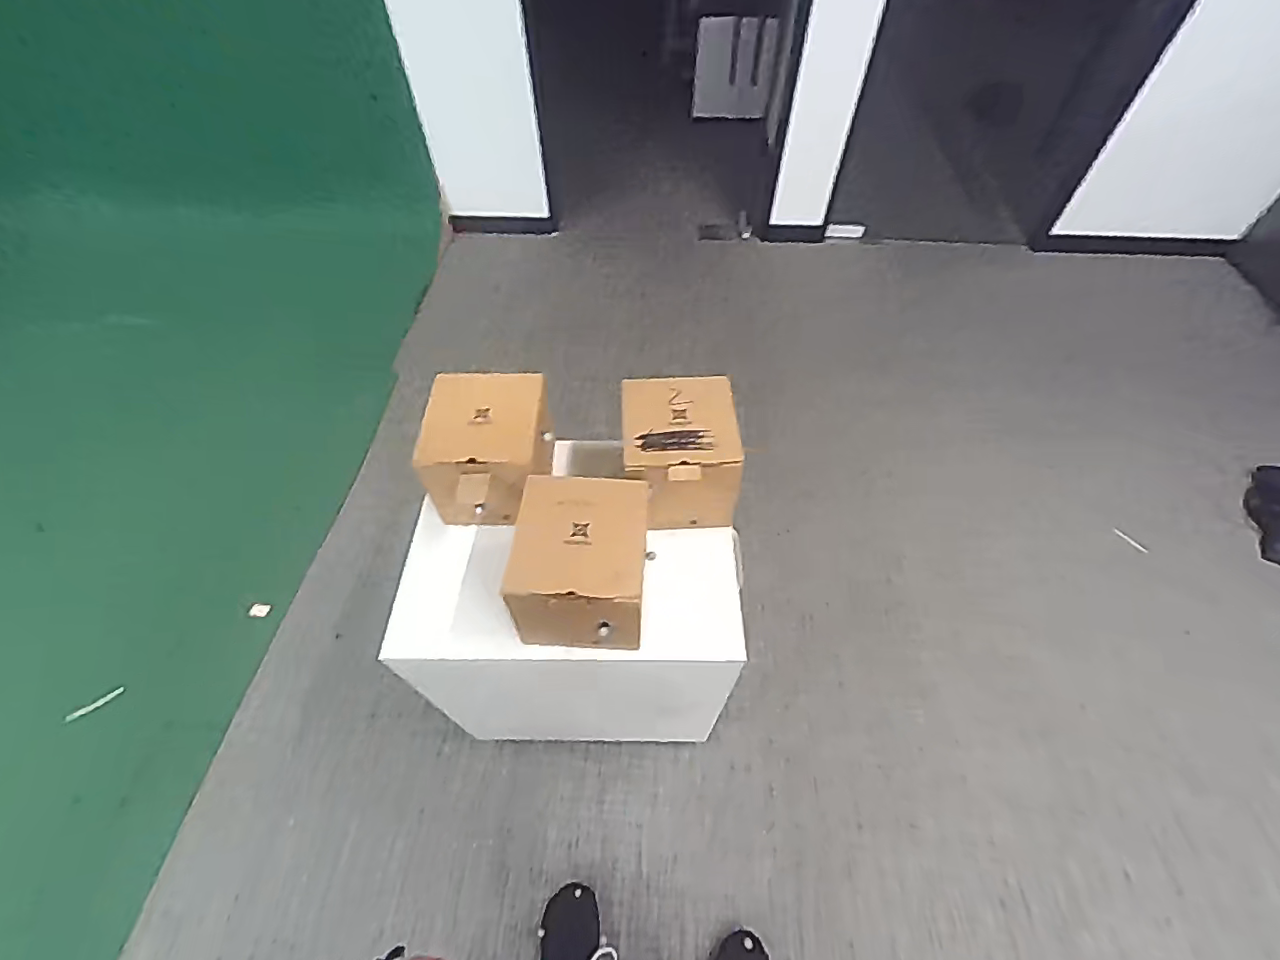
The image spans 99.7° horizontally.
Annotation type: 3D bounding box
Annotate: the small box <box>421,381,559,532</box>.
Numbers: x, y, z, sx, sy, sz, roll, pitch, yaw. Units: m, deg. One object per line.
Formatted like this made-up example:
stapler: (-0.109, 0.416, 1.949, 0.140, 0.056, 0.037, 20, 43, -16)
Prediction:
small box: (-0.222, -0.035, 0.855, 0.168, 0.176, 0.179, 0, 55, -1)

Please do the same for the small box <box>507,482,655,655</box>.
small box: (-0.067, 0.125, 0.736, 0.168, 0.176, 0.179, 4, 52, 2)
